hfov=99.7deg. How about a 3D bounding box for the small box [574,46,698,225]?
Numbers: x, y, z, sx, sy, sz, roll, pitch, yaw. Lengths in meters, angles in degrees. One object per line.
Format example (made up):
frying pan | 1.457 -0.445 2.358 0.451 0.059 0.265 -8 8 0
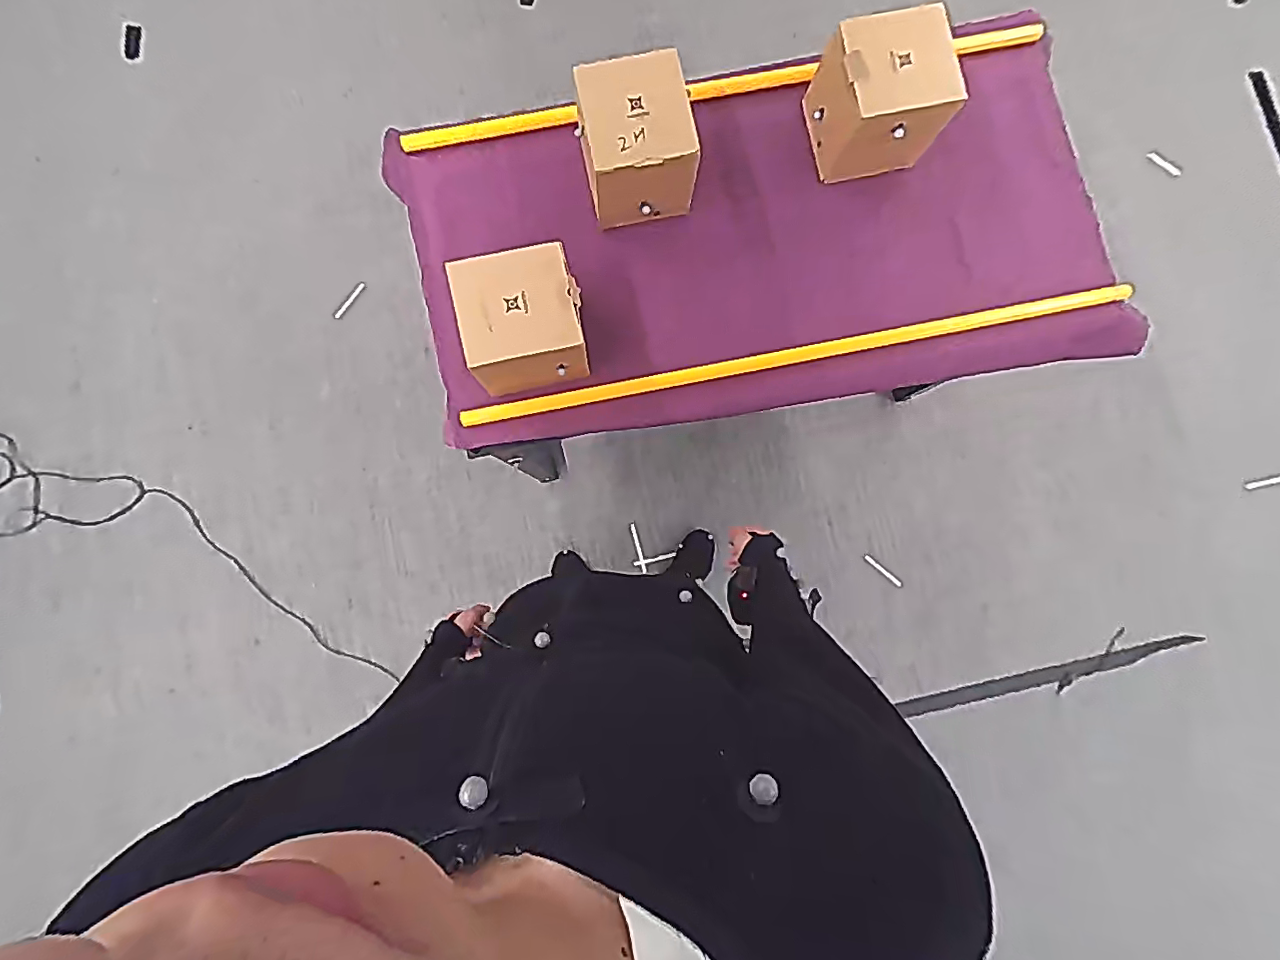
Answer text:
small box | -0.009 -0.563 0.902 0.168 0.176 0.179 -12 87 -2

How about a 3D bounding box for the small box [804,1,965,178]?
small box | 0.404 -0.651 0.921 0.179 0.176 0.168 -12 87 -1

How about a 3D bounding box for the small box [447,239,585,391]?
small box | -0.188 -0.255 0.870 0.179 0.176 0.168 -13 85 -5
